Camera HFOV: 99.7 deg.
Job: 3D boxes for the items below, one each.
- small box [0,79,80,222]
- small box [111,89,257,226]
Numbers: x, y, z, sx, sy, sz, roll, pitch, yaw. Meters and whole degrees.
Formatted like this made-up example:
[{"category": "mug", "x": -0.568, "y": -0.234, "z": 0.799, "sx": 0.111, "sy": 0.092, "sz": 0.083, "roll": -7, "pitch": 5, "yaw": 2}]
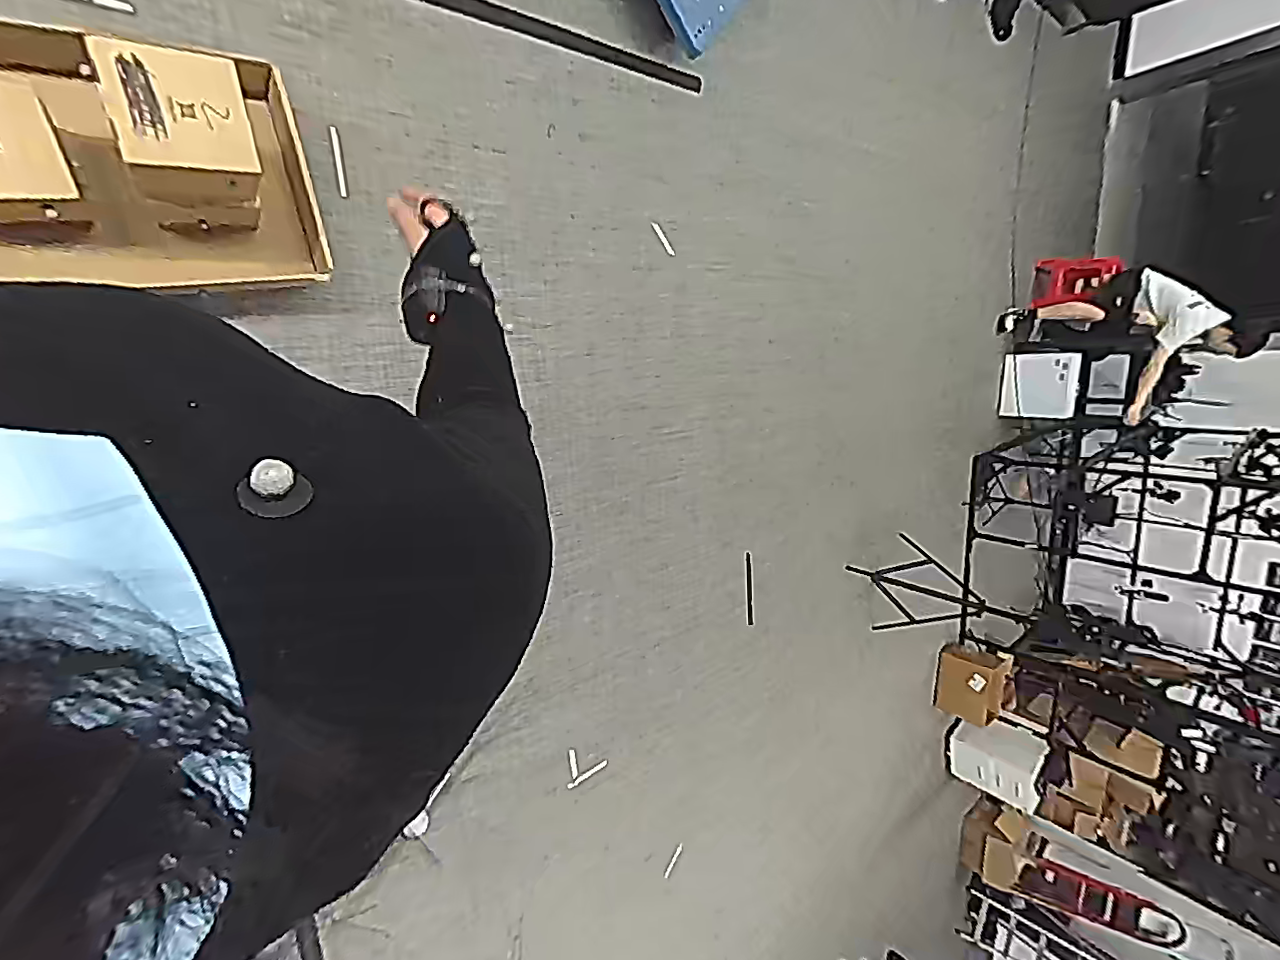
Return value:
[{"category": "small box", "x": -1.047, "y": -0.522, "z": 0.865, "sx": 0.179, "sy": 0.176, "sz": 0.168, "roll": -22, "pitch": 110, "yaw": -36}, {"category": "small box", "x": -0.849, "y": -0.593, "z": 1.018, "sx": 0.168, "sy": 0.176, "sz": 0.179, "roll": -19, "pitch": 110, "yaw": -35}]
